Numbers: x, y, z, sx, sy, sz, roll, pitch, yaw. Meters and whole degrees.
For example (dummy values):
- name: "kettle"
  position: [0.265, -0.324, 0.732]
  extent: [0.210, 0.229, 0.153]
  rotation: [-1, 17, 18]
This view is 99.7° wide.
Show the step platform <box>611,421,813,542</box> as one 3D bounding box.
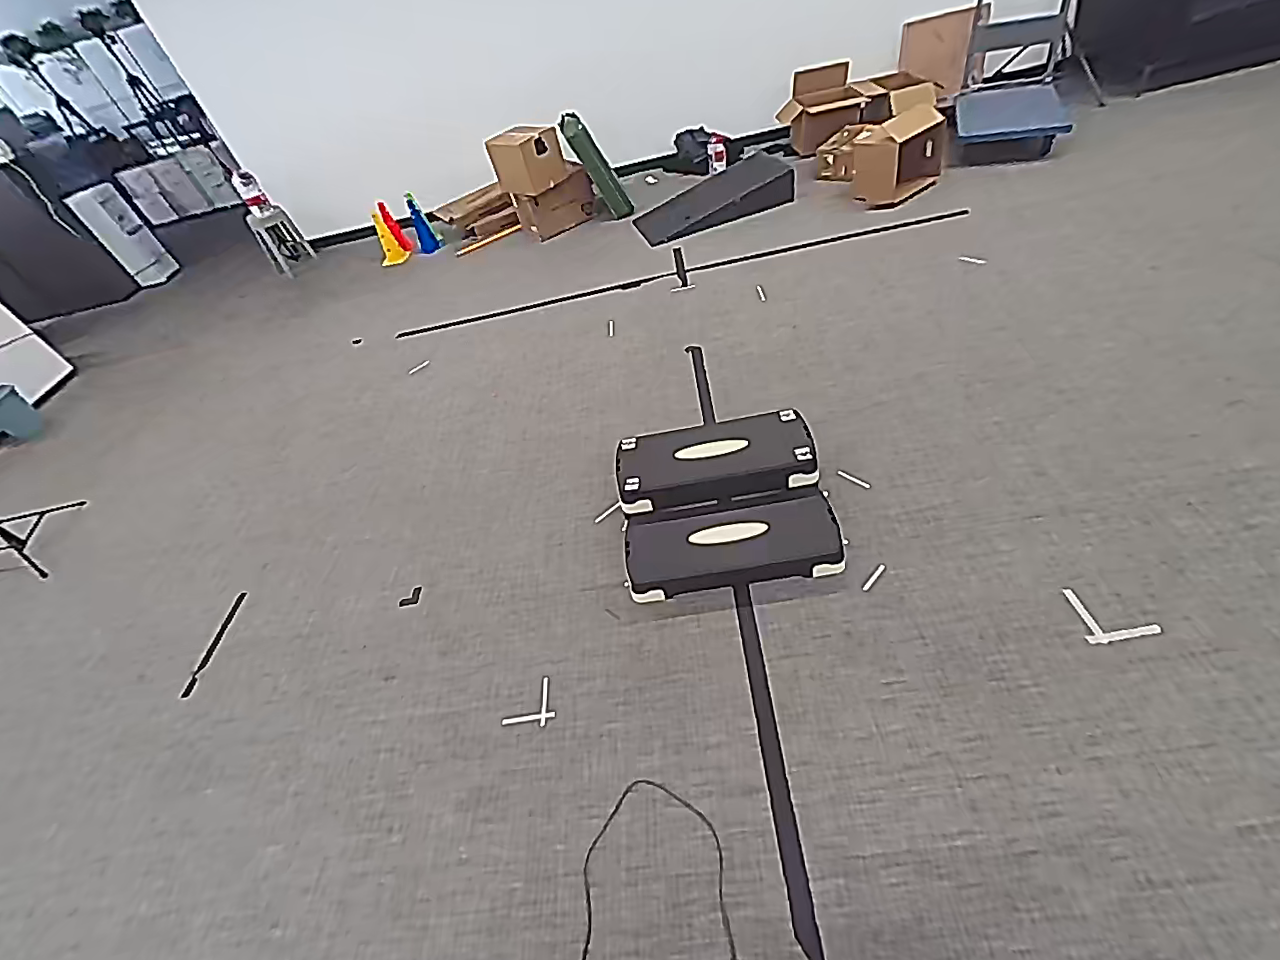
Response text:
- name: "step platform"
  position: [0.239, 0.000, 1.879]
  extent: [0.684, 0.204, 0.286]
  rotation: [-10, 46, 5]
